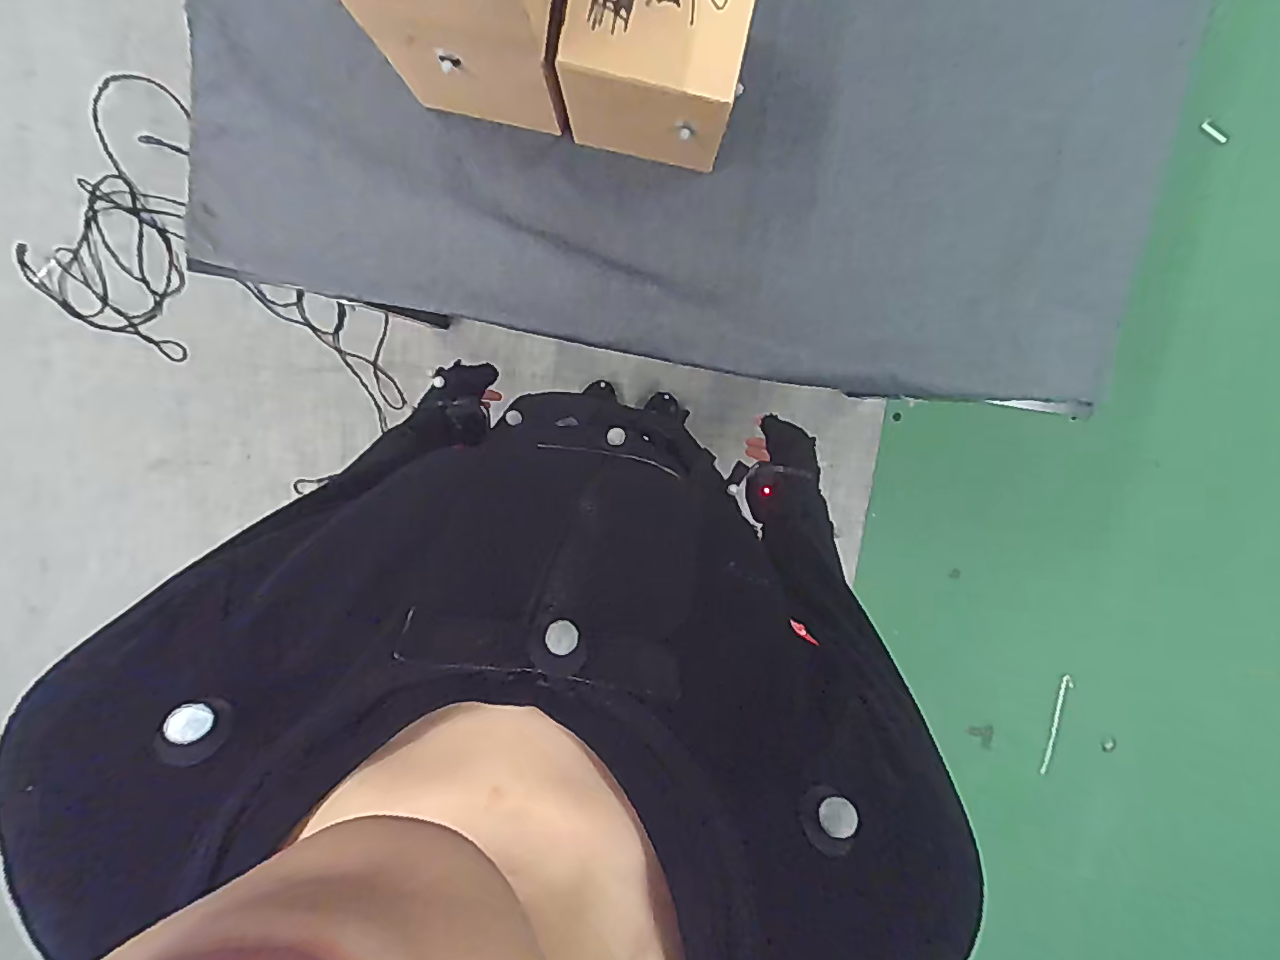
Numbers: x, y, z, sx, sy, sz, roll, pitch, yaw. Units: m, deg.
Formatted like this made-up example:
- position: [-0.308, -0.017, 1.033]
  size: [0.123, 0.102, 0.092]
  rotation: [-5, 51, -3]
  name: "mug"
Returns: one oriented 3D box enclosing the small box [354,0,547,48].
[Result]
- position: [-0.160, -0.482, 0.418]
  size: [0.179, 0.176, 0.168]
  rotation: [9, 98, -2]
  name: "small box"
